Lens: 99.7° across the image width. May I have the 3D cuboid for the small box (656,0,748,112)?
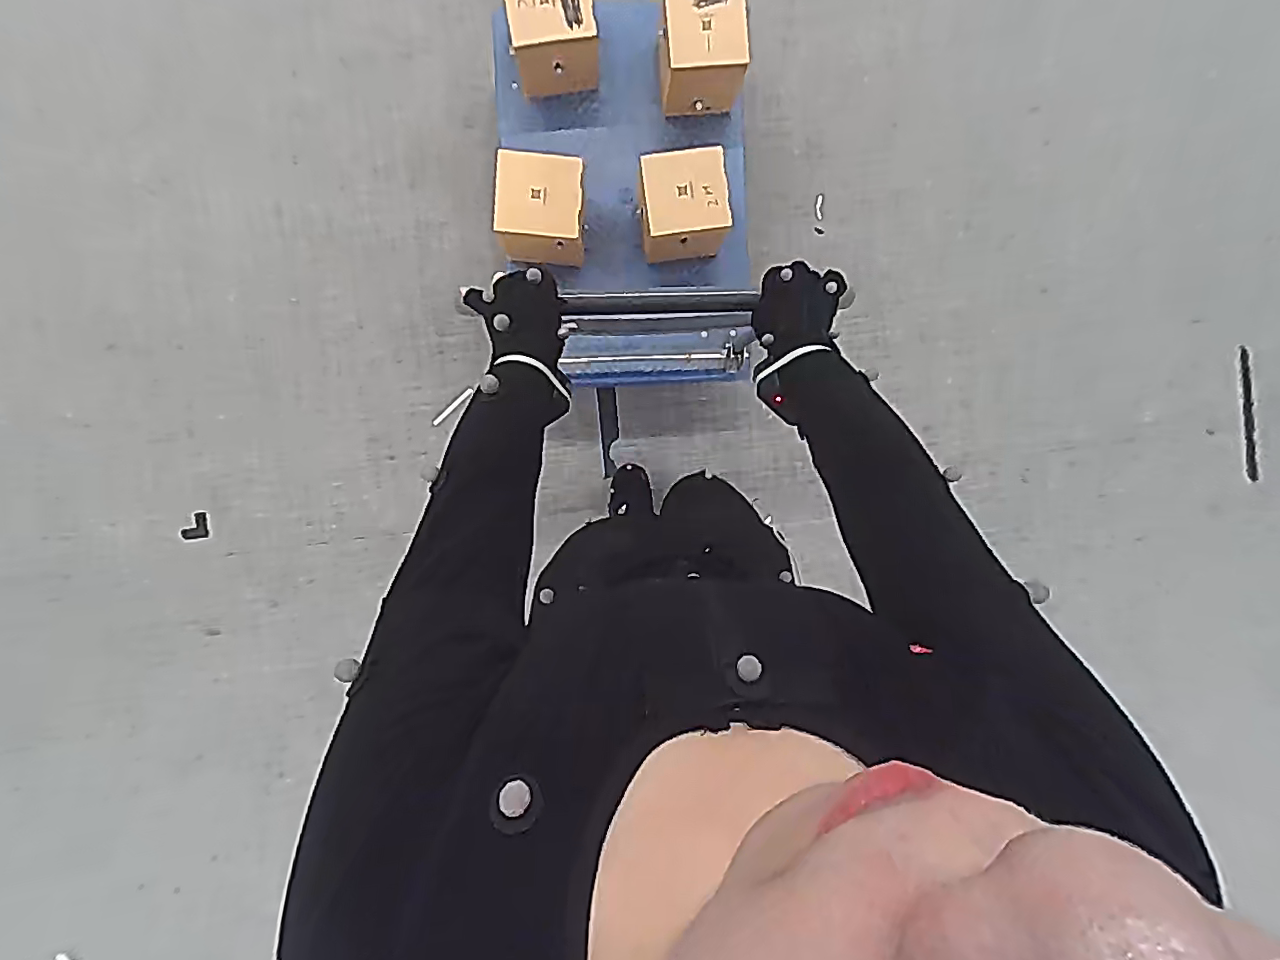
[{"bbox_3d":[0.128,-0.941,1.172,0.168,0.176,0.179,-6,95,-2],"label":"small box"}]

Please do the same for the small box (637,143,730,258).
[{"bbox_3d":[0.089,-0.605,1.190,0.179,0.176,0.168,-8,94,-2],"label":"small box"}]

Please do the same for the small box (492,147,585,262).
[{"bbox_3d":[-0.215,-0.589,1.178,0.179,0.176,0.168,3,92,-4],"label":"small box"}]
